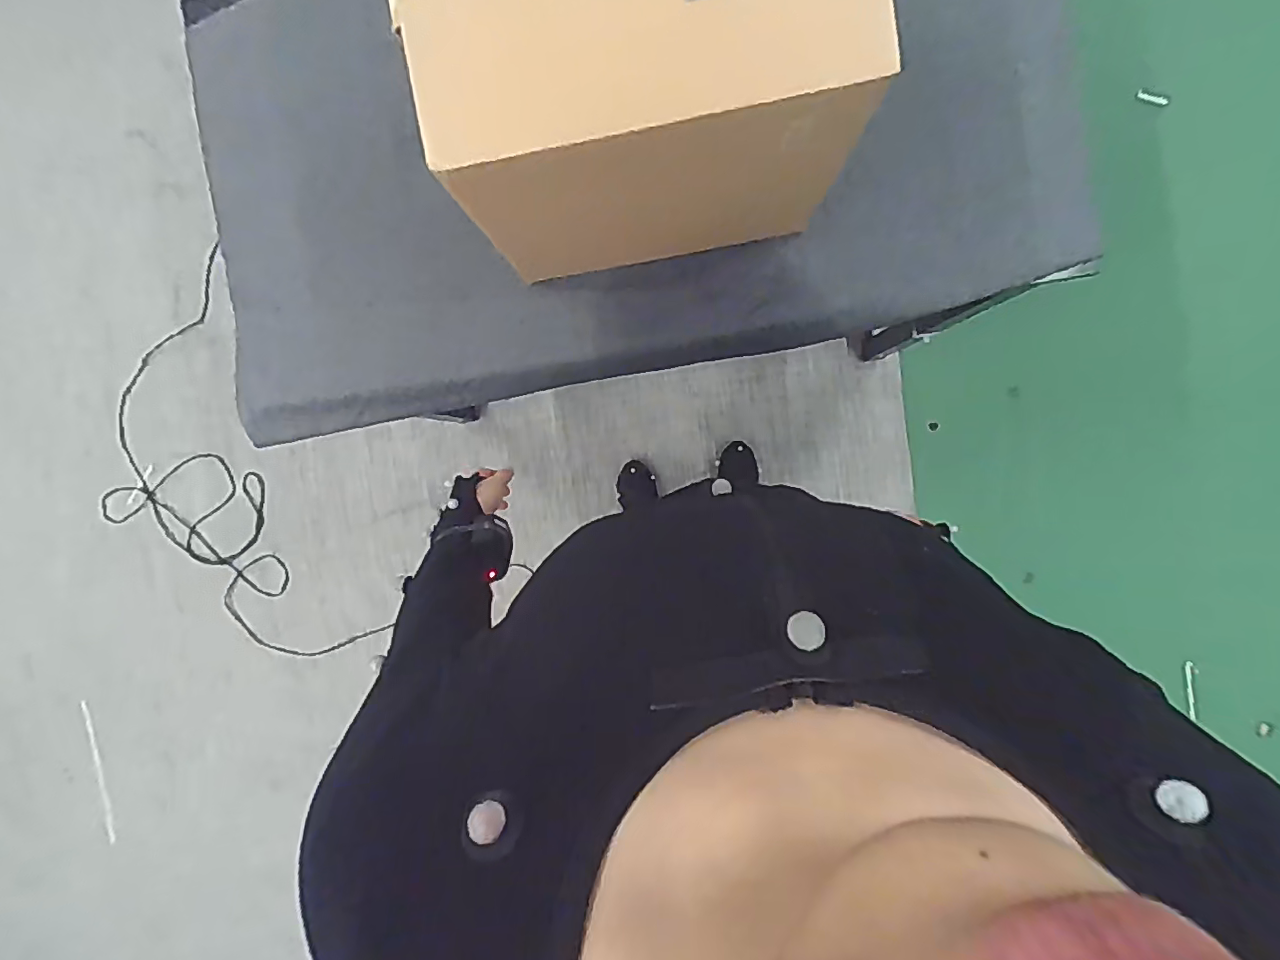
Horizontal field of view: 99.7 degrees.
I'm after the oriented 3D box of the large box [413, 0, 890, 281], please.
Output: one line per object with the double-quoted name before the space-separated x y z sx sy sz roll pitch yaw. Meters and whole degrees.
"large box" 0.000 -0.462 0.614 0.408 0.320 0.320 -10 92 4
